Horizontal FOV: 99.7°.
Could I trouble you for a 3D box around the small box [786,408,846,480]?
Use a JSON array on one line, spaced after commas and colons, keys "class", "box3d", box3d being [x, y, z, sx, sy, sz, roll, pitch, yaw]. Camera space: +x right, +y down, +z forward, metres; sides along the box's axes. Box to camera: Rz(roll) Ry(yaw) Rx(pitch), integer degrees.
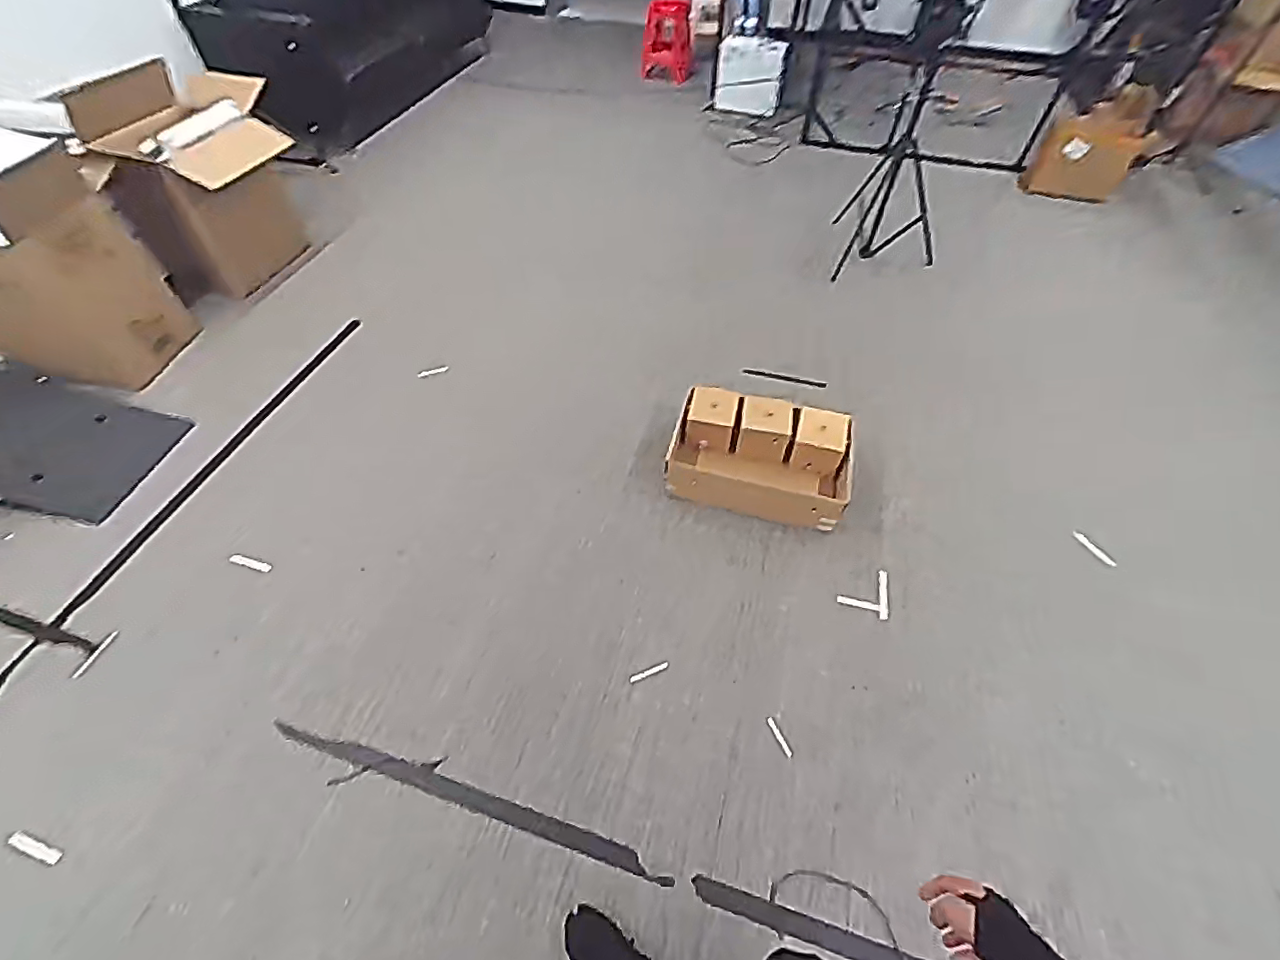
[{"class": "small box", "box3d": [0.634, -0.130, 1.957, 0.168, 0.176, 0.179, 13, 57, 10]}]
